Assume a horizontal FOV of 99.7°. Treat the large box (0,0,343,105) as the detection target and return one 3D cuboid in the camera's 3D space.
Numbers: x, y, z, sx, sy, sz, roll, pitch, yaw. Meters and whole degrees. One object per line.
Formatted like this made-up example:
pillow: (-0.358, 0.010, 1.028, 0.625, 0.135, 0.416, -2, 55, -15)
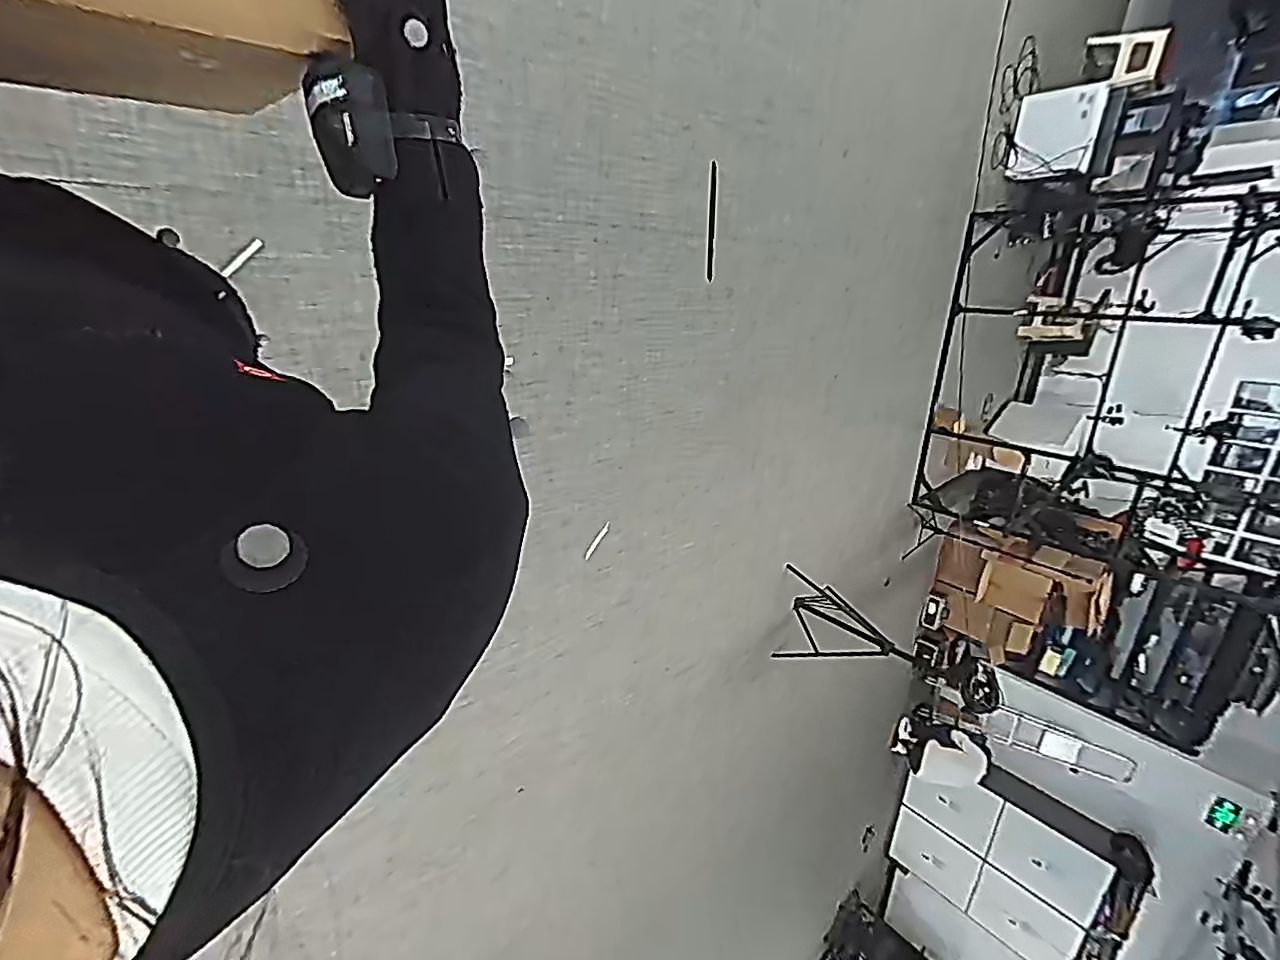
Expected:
large box: (-0.426, -0.396, 0.245, 0.408, 0.320, 0.320, -21, 125, -39)
